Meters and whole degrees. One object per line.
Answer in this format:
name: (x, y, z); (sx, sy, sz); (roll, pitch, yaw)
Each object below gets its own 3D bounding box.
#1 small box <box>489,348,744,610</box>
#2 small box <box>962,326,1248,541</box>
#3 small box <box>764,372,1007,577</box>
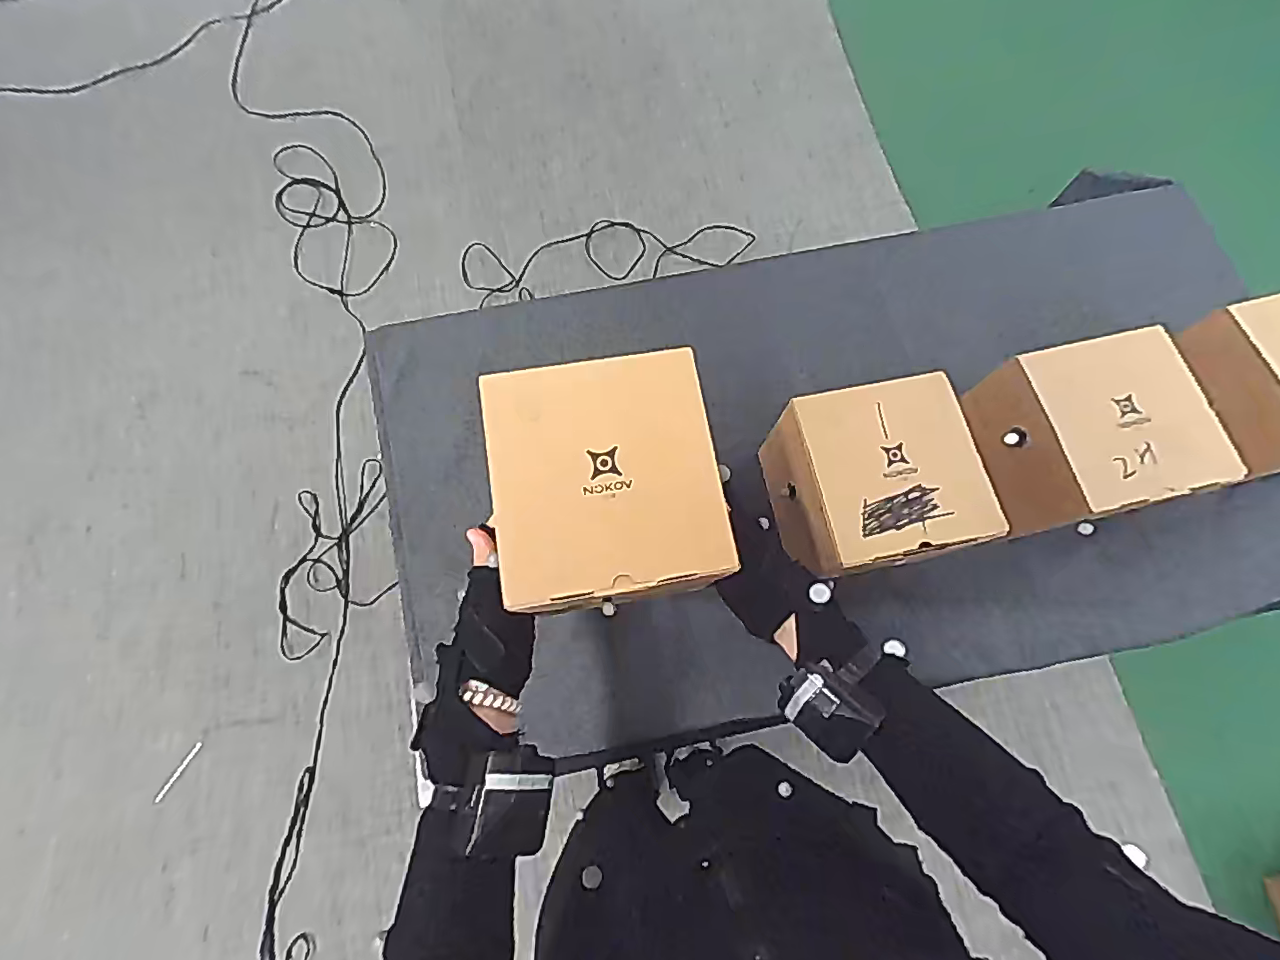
small box: (-0.026, 0.011, 0.470); (0.168, 0.176, 0.179); (-9, 76, -6)
small box: (0.488, -0.043, 0.615); (0.168, 0.176, 0.179); (-12, 74, -3)
small box: (0.251, 0.007, 0.601); (0.168, 0.176, 0.179); (-10, 73, -3)
